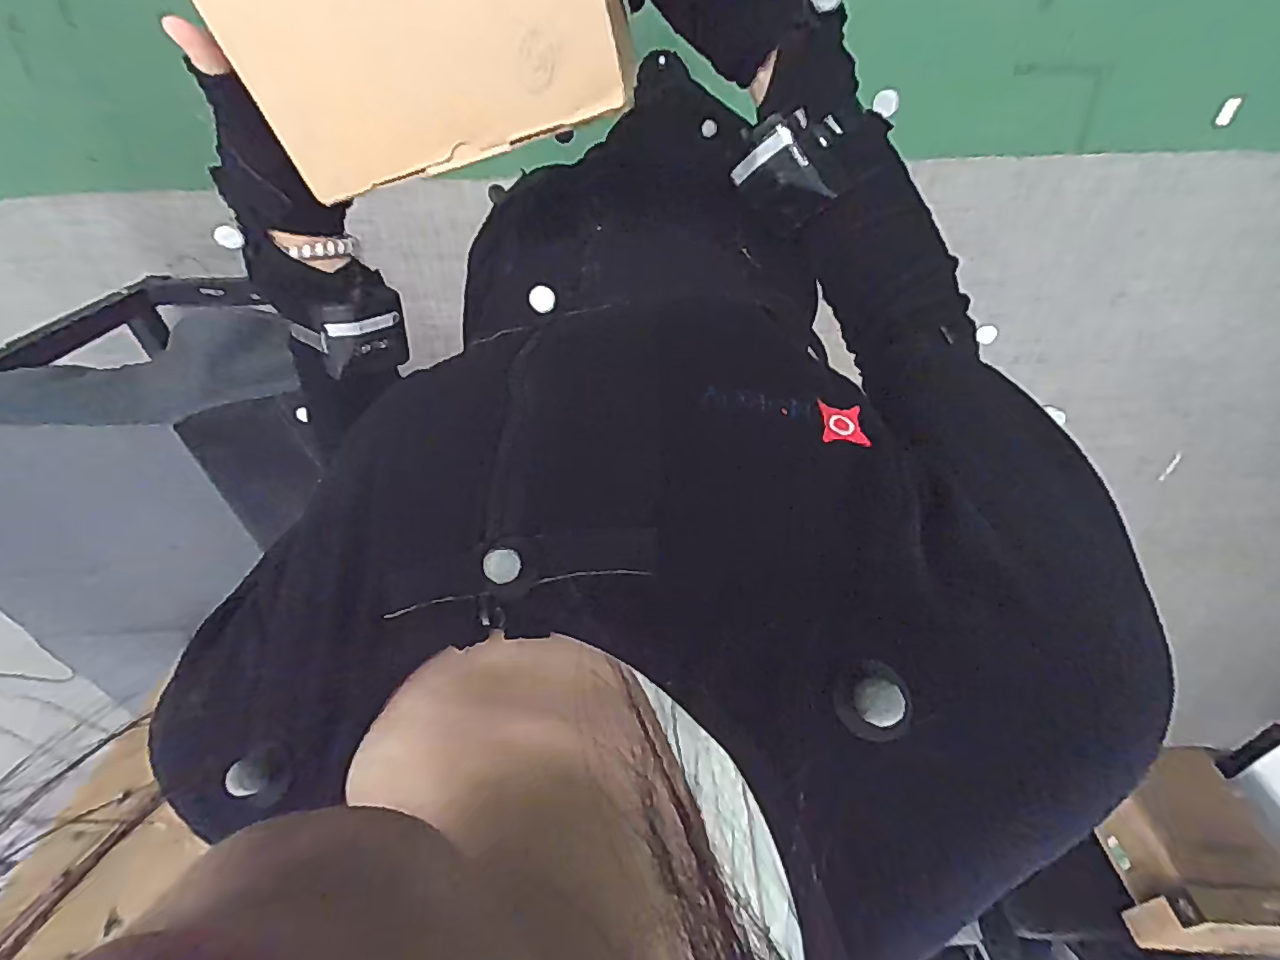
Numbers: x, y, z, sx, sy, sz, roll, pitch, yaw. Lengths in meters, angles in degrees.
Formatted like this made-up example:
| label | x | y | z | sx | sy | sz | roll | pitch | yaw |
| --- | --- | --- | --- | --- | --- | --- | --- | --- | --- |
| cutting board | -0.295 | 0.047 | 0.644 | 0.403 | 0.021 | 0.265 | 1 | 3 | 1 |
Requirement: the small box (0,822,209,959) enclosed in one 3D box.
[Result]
| label | x | y | z | sx | sy | sz | roll | pitch | yaw |
| --- | --- | --- | --- | --- | --- | --- | --- | --- | --- |
| small box | -0.861 | 0.674 | 0.871 | 0.168 | 0.176 | 0.179 | 0 | 128 | 2 |

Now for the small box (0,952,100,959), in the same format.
| label | x | y | z | sx | sy | sz | roll | pitch | yaw |
| --- | --- | --- | --- | --- | --- | --- | --- | --- | --- |
| small box | -0.865 | 0.772 | 0.740 | 0.179 | 0.176 | 0.168 | 1 | 128 | 1 |

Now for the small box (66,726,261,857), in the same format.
| label | x | y | z | sx | sy | sz | roll | pitch | yaw |
| --- | --- | --- | --- | --- | --- | --- | --- | --- | --- |
| small box | -0.861 | 0.573 | 1.001 | 0.179 | 0.176 | 0.168 | -2 | 128 | 2 |
